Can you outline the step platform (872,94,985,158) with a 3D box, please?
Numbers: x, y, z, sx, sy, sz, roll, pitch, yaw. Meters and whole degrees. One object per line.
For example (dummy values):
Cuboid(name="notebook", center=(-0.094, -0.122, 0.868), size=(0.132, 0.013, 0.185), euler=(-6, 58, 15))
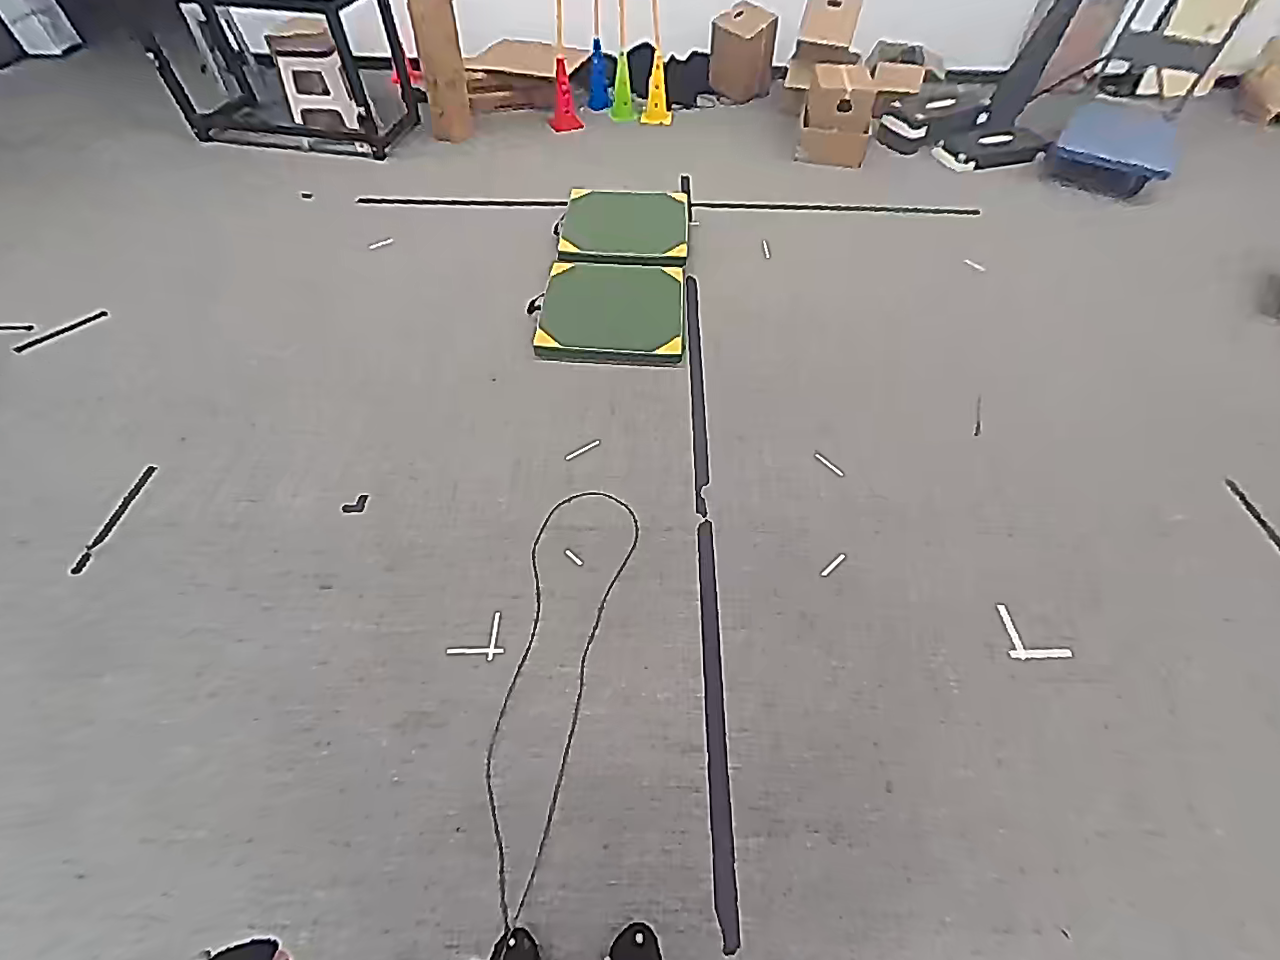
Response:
Cuboid(name="step platform", center=(1.838, -2.254, 3.433), size=(0.684, 0.204, 0.286), euler=(-23, 58, -17))
